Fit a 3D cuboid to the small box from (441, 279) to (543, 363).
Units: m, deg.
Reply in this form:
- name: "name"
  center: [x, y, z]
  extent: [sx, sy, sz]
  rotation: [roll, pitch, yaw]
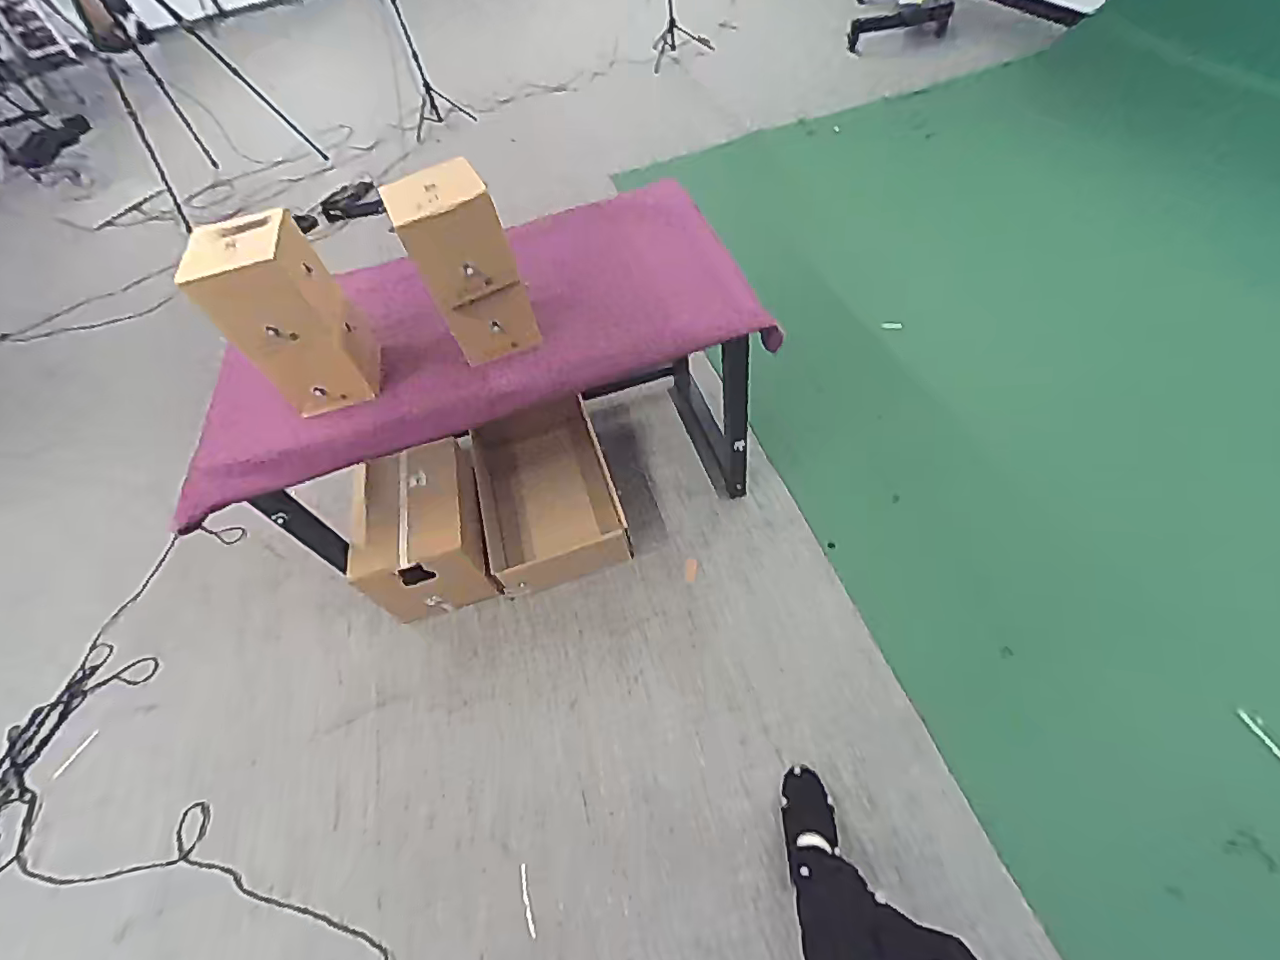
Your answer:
- name: "small box"
  center: [-0.318, -0.370, 1.145]
  extent: [0.168, 0.176, 0.179]
  rotation: [-21, 53, -5]

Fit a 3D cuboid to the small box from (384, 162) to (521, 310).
- name: "small box"
  center: [-0.342, -0.447, 0.999]
  extent: [0.168, 0.176, 0.179]
  rotation: [-26, 54, -8]

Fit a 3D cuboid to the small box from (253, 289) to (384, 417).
- name: "small box"
  center: [-0.657, -0.262, 1.129]
  extent: [0.168, 0.176, 0.179]
  rotation: [-16, 54, -2]
